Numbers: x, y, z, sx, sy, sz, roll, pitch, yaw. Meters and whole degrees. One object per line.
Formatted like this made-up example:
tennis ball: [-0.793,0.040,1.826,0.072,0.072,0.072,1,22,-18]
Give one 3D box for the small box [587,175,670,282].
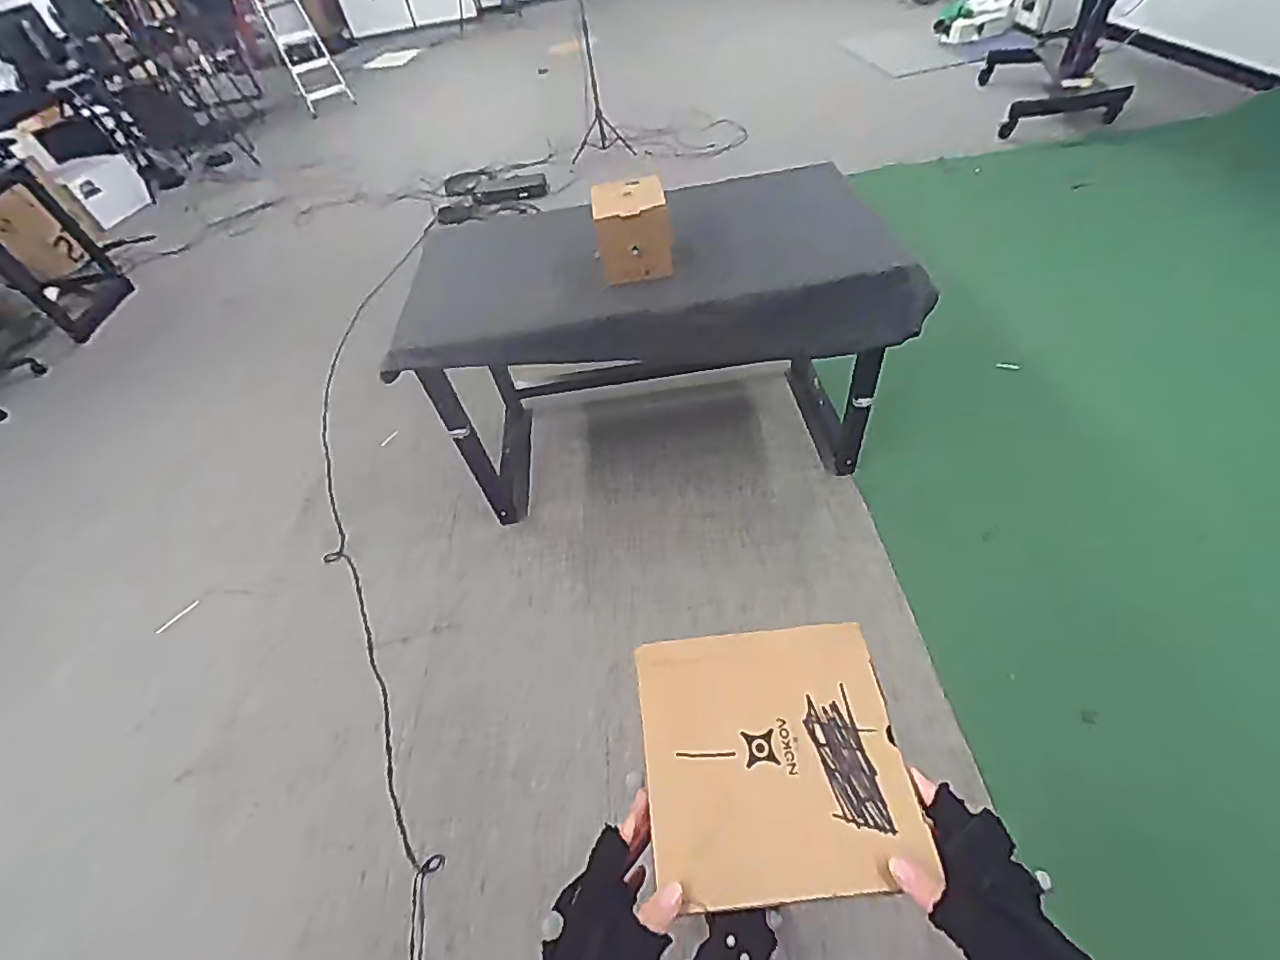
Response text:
small box: [-0.026,-0.593,1.293,0.168,0.176,0.179,-10,50,3]
